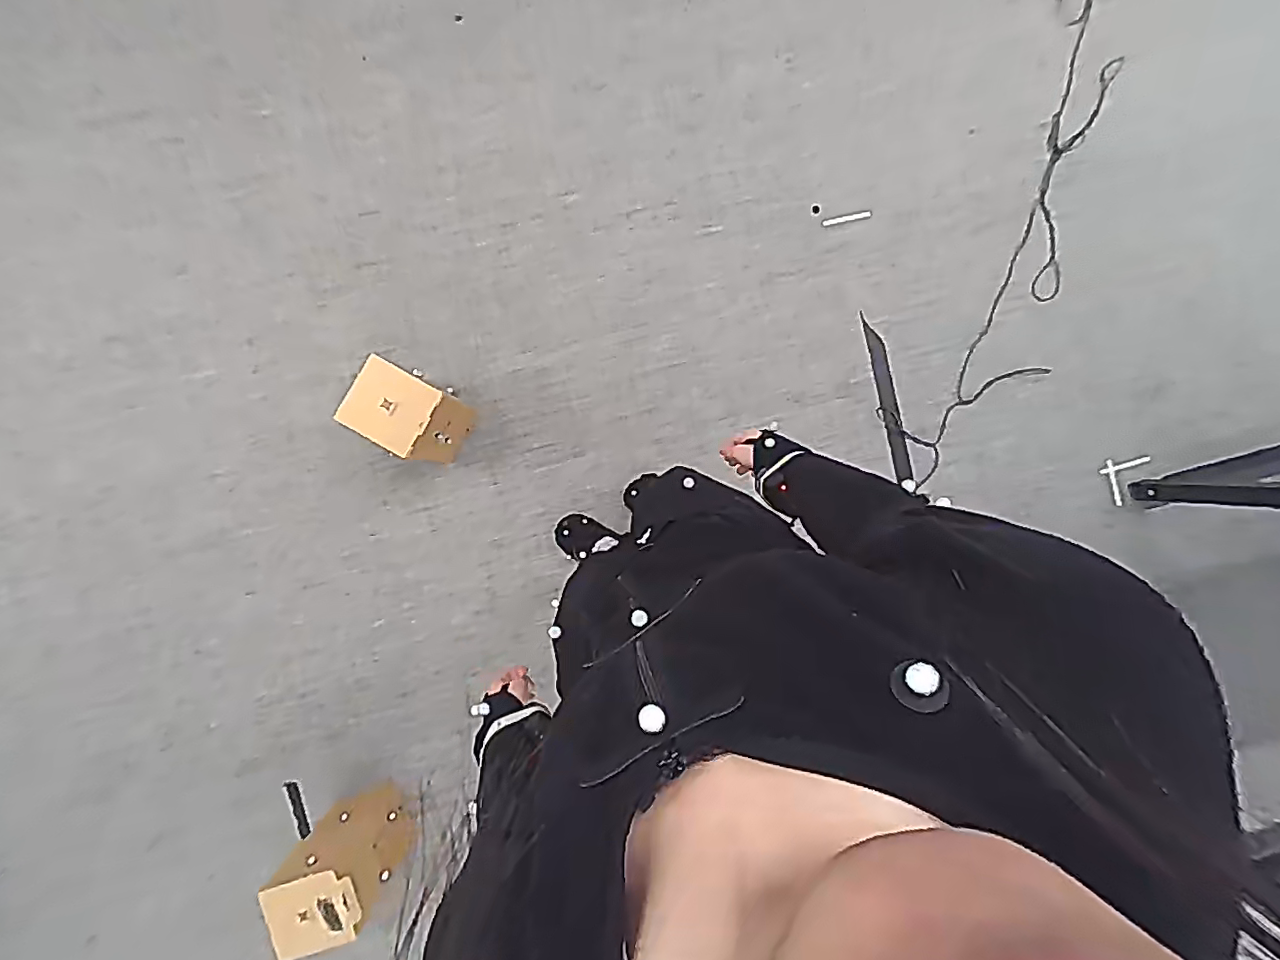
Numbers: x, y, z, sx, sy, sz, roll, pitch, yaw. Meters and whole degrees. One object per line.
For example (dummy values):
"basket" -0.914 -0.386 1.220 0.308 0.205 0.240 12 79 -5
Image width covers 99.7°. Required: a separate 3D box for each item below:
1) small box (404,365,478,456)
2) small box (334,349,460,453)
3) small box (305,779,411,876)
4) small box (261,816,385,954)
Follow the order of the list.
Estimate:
"small box" -0.550 -0.168 1.396 0.179 0.176 0.168 30 89 -3
"small box" -0.542 -0.168 1.233 0.179 0.176 0.168 30 89 -4
"small box" -0.721 0.921 1.411 0.179 0.176 0.168 -18 91 -1
"small box" -0.715 0.918 1.246 0.179 0.176 0.168 -17 91 -2
